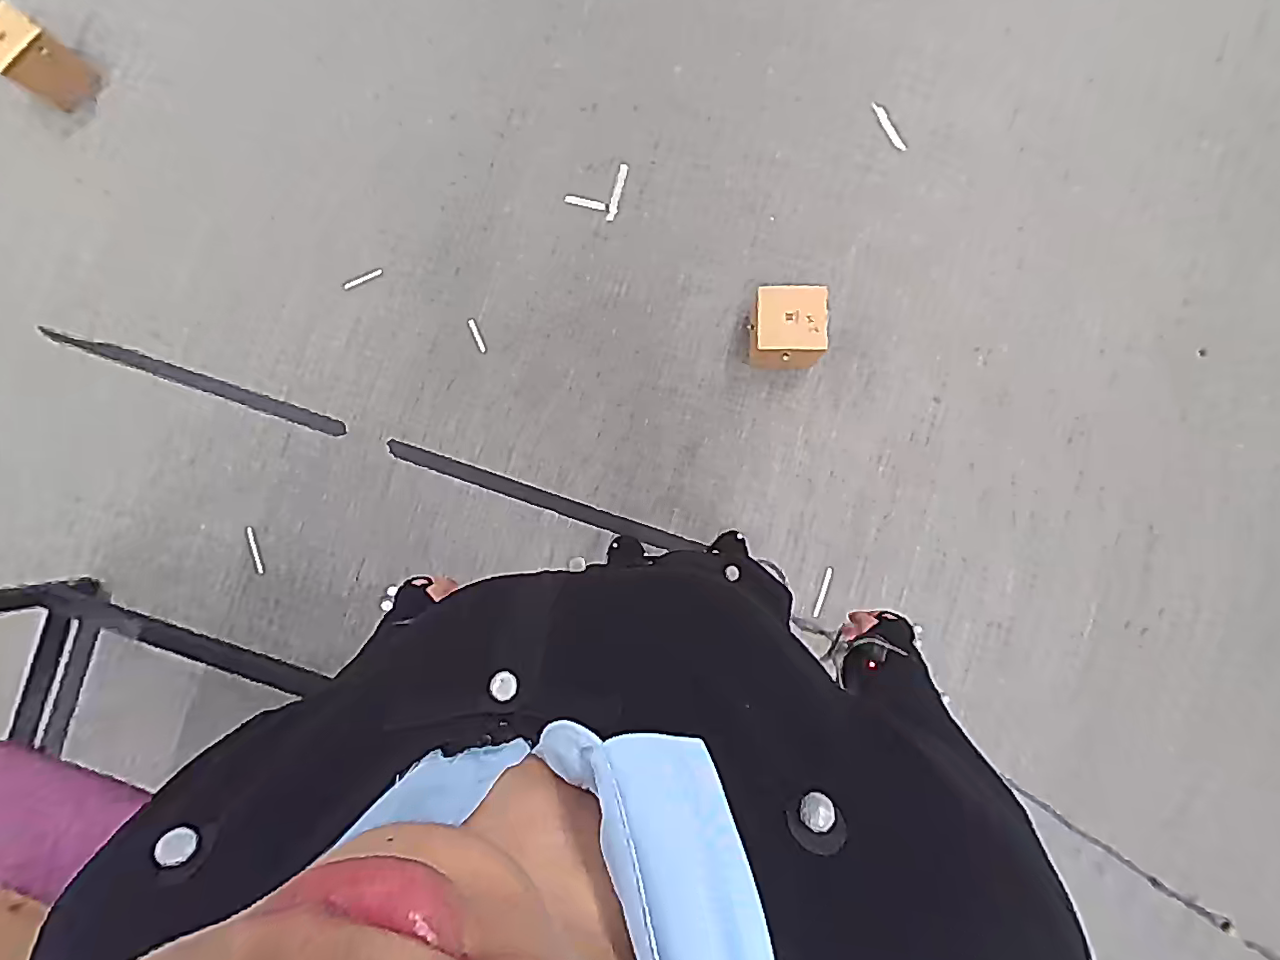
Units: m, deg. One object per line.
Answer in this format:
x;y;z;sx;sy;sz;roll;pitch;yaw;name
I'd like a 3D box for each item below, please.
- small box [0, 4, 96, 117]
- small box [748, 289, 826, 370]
-1.832;-1.261;1.639;0.168;0.176;0.179;42;89;6;small box
0.383;-0.394;1.436;0.179;0.176;0.168;1;86;3;small box
